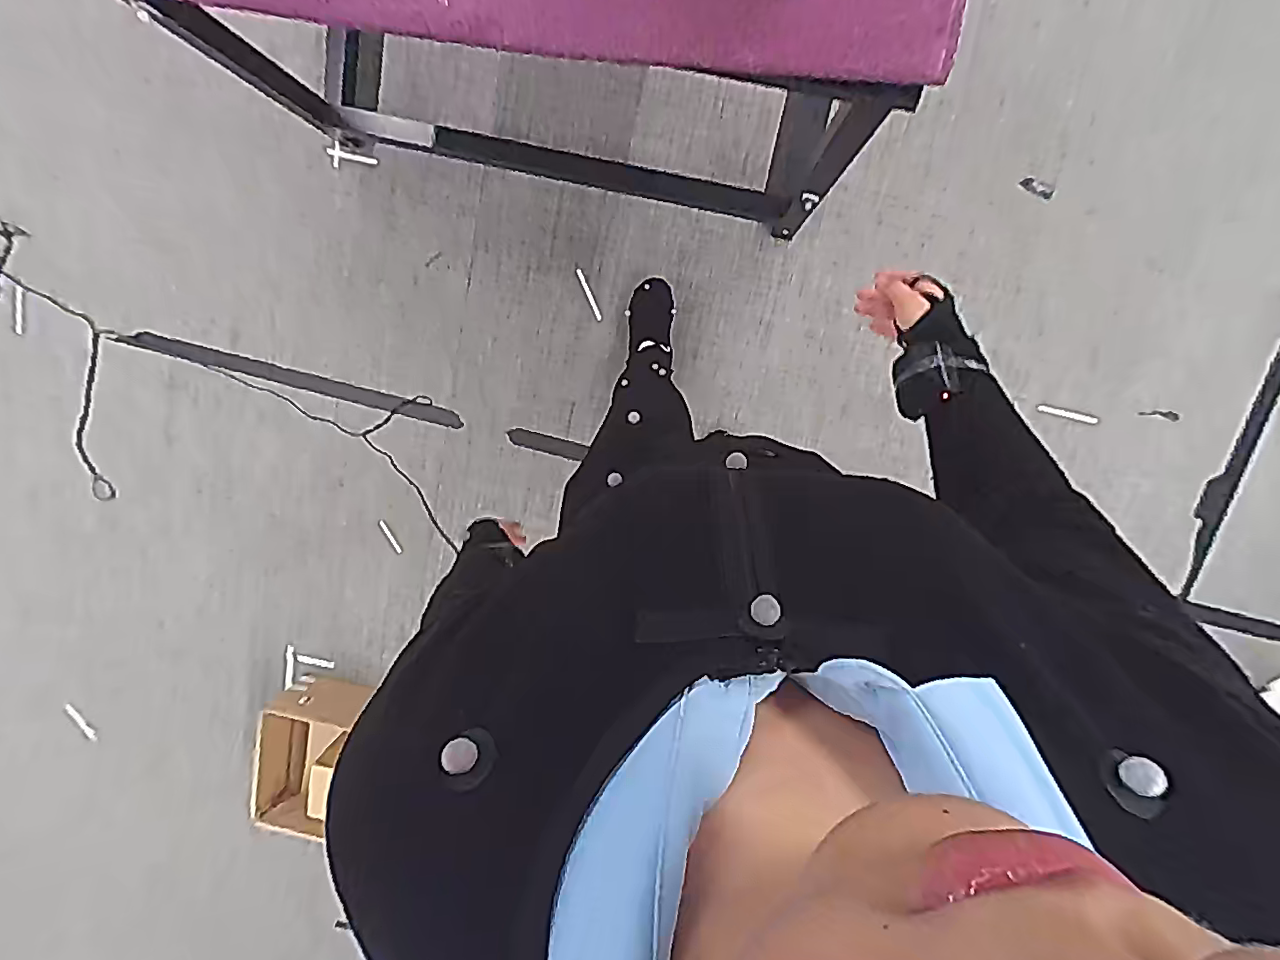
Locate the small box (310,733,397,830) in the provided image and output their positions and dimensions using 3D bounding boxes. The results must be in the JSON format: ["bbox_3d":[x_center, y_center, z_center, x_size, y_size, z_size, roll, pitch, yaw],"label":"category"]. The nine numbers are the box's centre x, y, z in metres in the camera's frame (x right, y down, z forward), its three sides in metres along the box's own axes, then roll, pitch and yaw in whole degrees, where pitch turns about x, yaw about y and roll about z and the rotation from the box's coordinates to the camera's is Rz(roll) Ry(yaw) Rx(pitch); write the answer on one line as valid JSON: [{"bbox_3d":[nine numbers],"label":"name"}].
[{"bbox_3d":[-0.845,0.887,1.608,0.168,0.176,0.179,12,101,2],"label":"small box"}]
